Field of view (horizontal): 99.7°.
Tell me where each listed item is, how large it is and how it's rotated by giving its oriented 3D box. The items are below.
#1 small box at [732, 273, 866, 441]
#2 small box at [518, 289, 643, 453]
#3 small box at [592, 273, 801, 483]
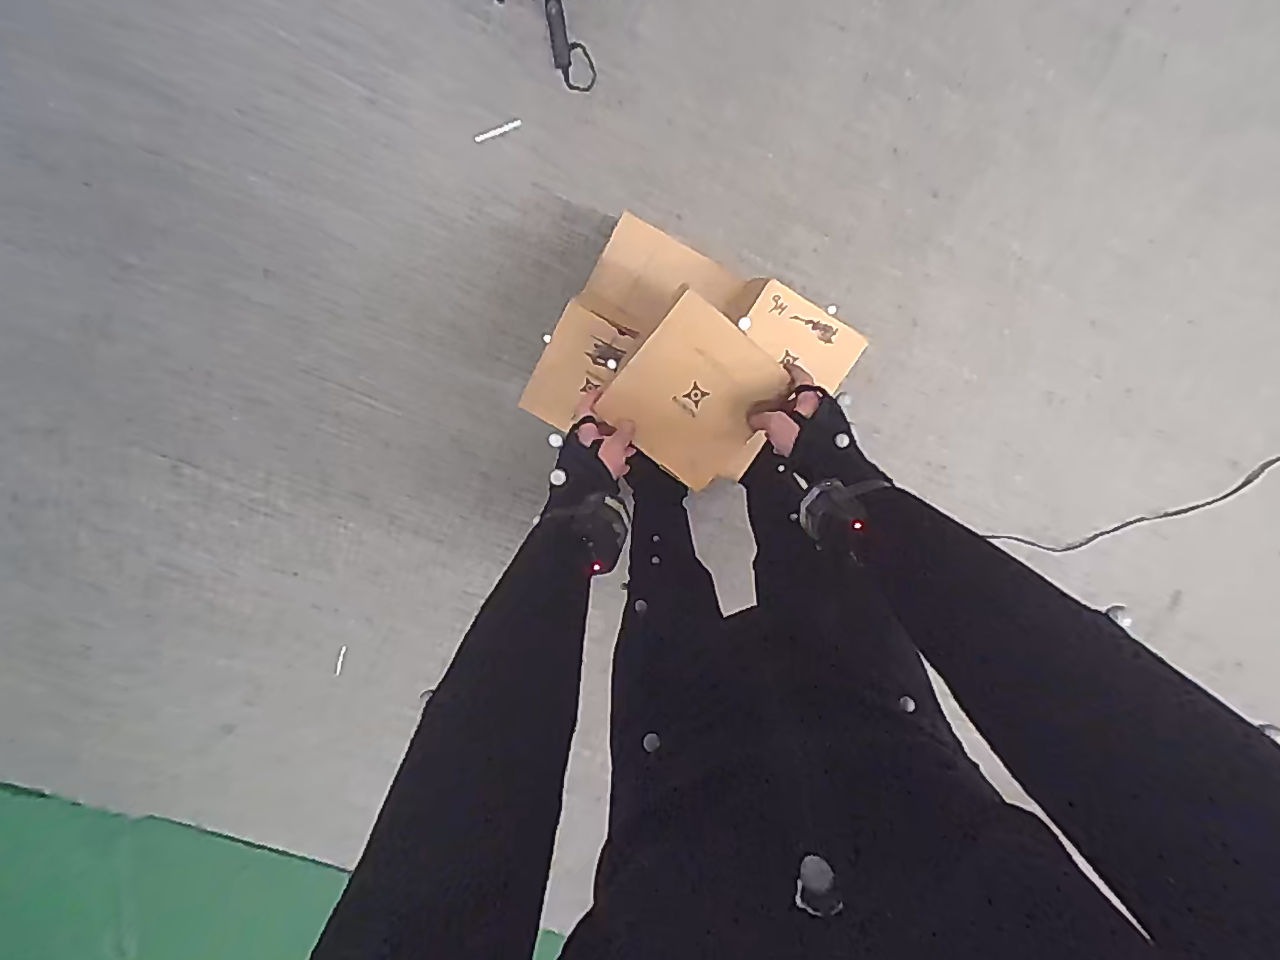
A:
[{"bbox_3d":[0.199,-0.190,0.821,0.168,0.176,0.179,30,108,-9],"label":"small box"},{"bbox_3d":[-0.062,-0.176,0.833,0.168,0.176,0.179,30,110,-9],"label":"small box"},{"bbox_3d":[0.063,-0.131,0.671,0.168,0.176,0.179,38,106,-13],"label":"small box"}]
